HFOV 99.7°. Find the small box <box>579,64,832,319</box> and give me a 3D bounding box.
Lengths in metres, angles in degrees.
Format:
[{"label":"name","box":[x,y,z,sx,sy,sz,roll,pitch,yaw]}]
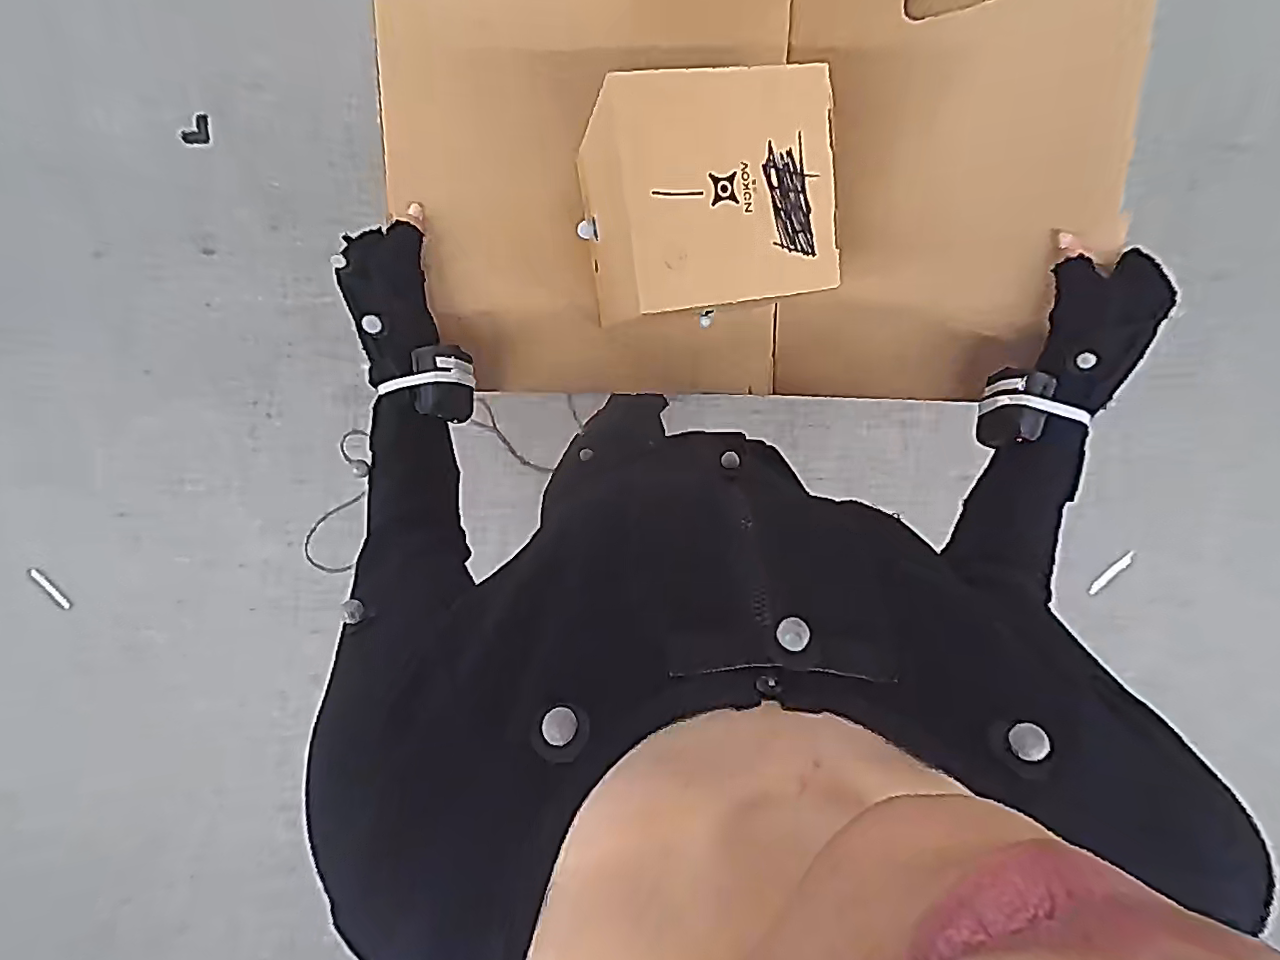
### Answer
[{"label":"small box","box":[0.051,-0.247,0.499,0.179,0.176,0.168,-11,103,-11]}]
